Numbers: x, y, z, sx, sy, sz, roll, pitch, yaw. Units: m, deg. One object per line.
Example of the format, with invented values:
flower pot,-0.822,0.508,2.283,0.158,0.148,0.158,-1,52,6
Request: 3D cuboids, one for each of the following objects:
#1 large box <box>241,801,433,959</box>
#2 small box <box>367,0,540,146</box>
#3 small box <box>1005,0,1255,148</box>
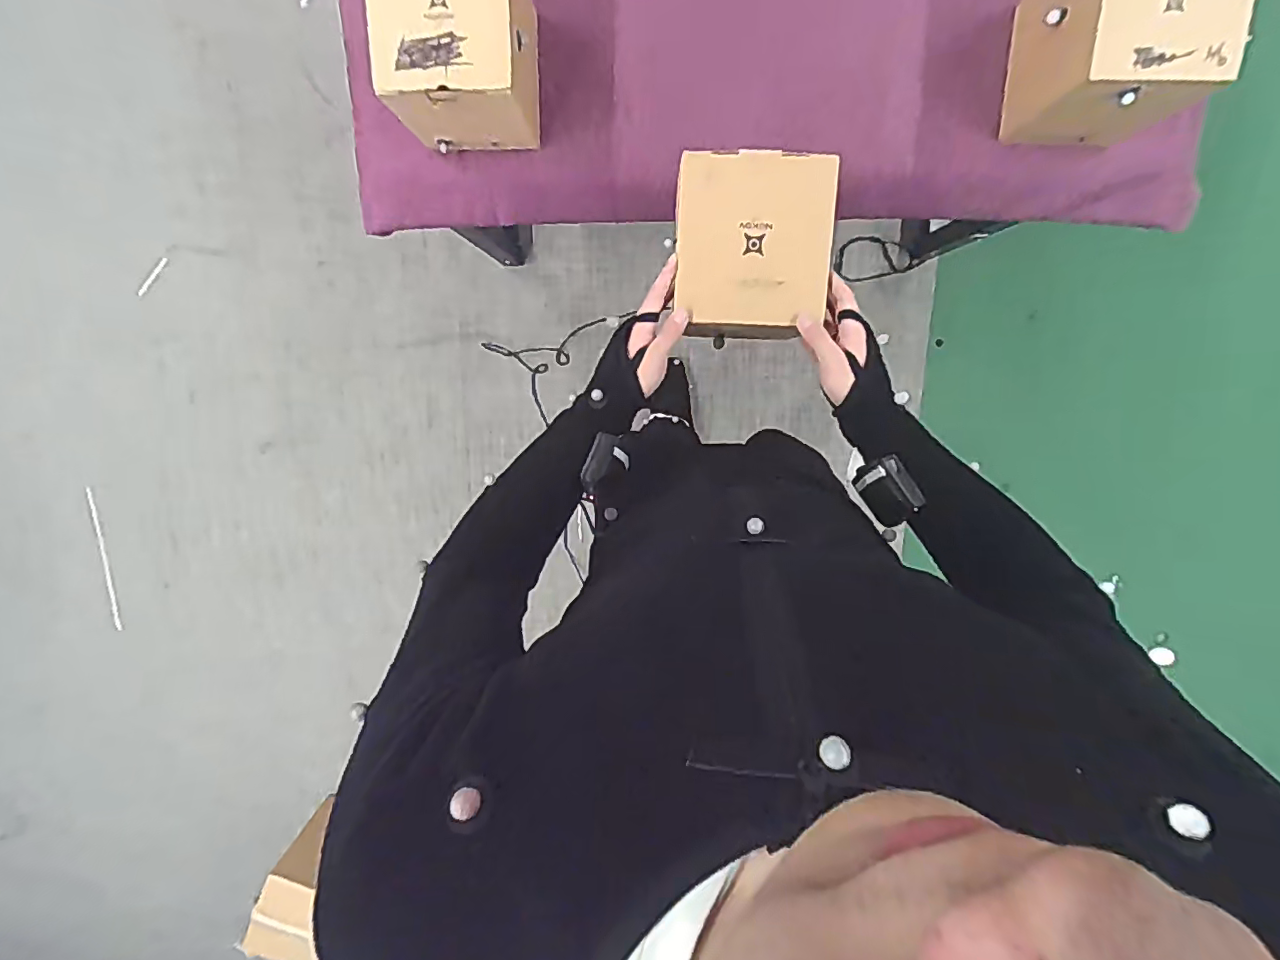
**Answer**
large box,-0.963,1.339,1.759,0.408,0.320,0.320,24,101,-5
small box,-0.224,-0.549,0.687,0.168,0.176,0.179,0,101,0
small box,0.592,-0.547,0.672,0.168,0.176,0.179,2,99,2
